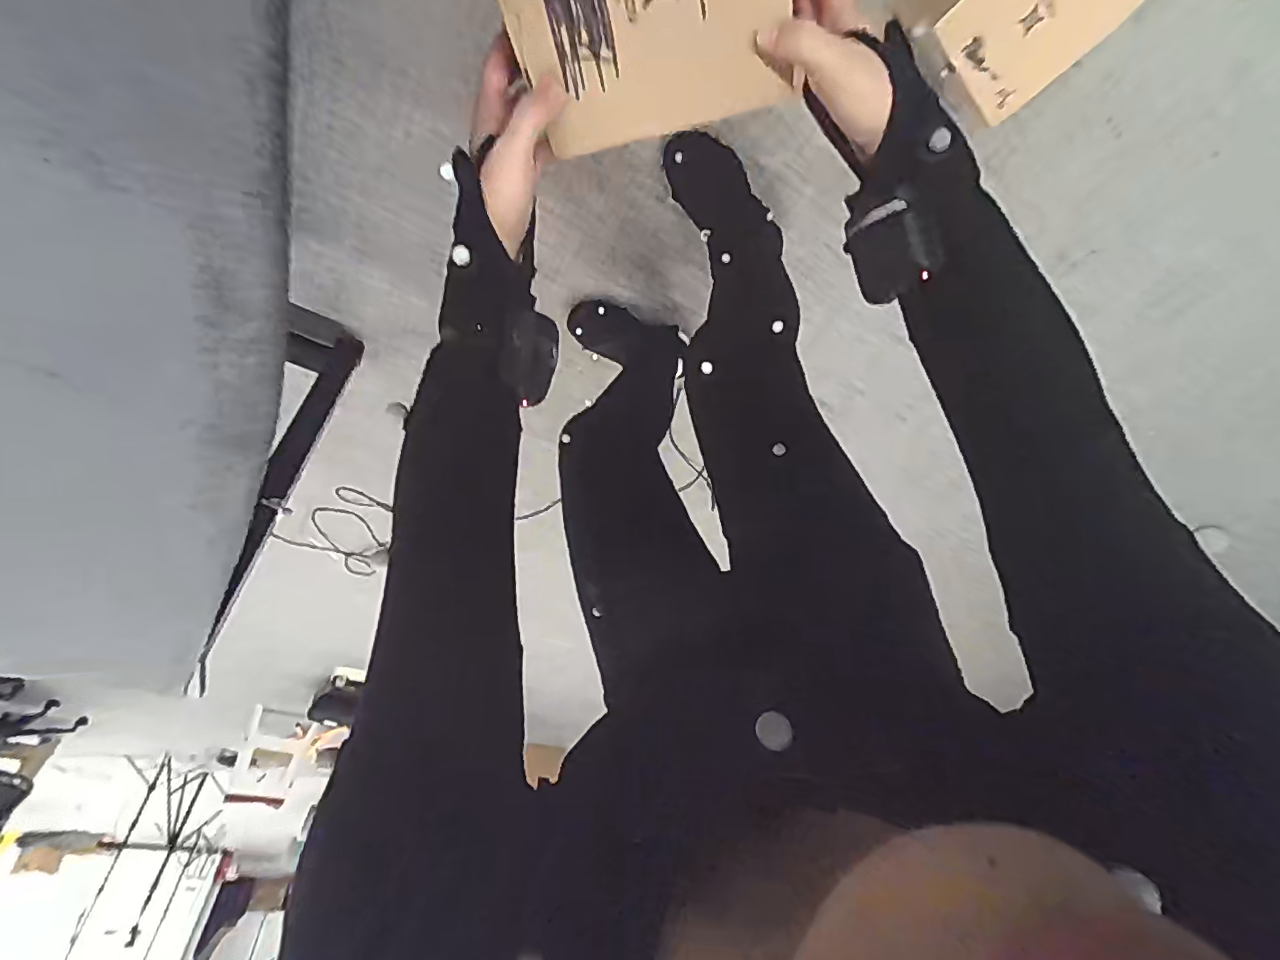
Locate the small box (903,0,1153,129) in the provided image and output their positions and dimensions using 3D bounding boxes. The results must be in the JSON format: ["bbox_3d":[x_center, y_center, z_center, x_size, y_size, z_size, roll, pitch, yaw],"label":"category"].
[{"bbox_3d":[0.465,-0.595,0.669,0.168,0.176,0.179,29,133,-31],"label":"small box"}]
